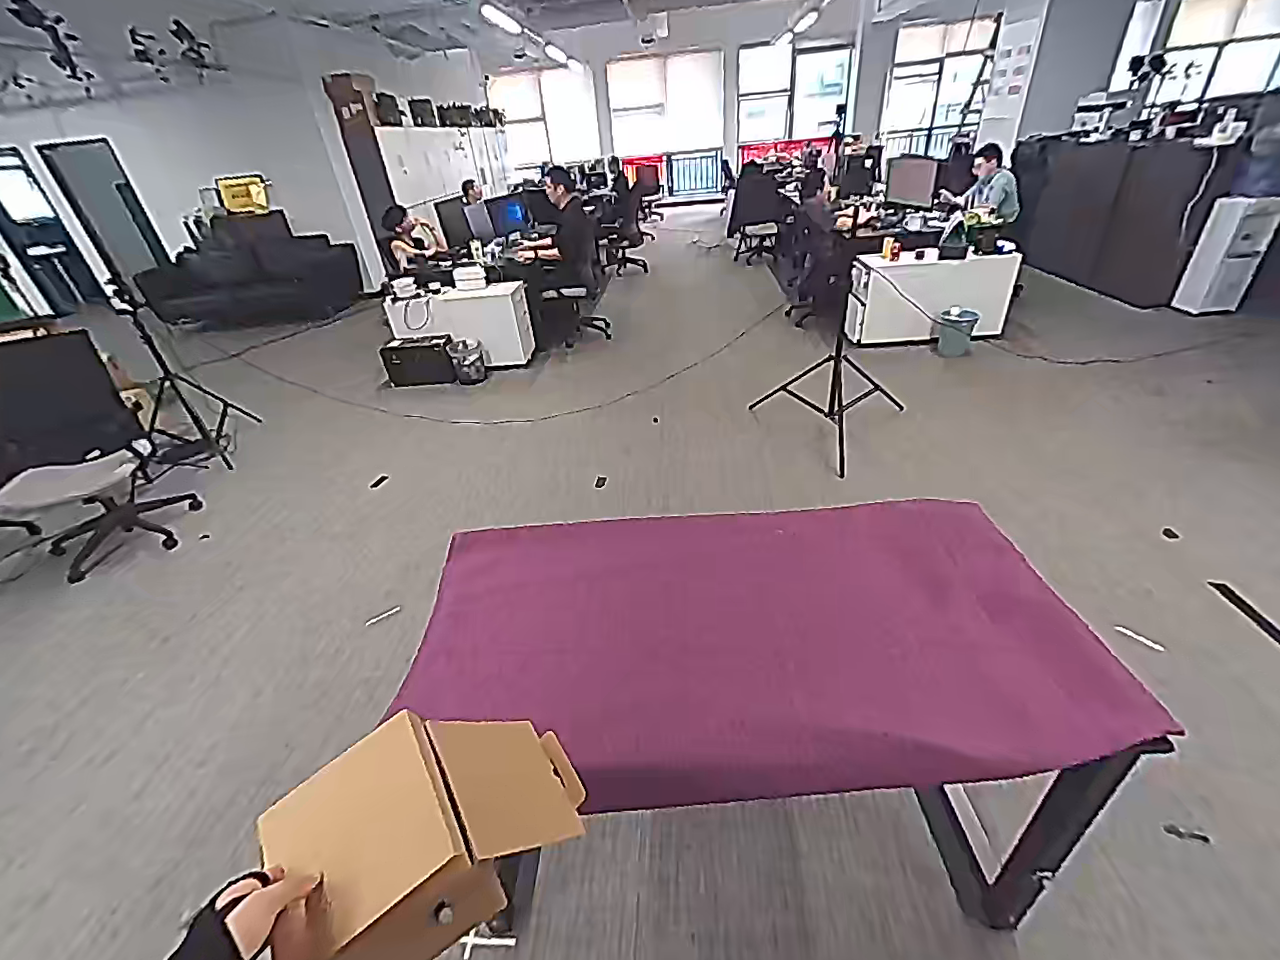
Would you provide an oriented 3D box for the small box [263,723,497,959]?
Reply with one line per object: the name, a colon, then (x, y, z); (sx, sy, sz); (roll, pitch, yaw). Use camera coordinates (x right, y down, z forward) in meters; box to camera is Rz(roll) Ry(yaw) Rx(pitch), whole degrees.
small box: (-0.269, 0.412, 0.588); (0.179, 0.176, 0.168); (-24, 45, -24)
